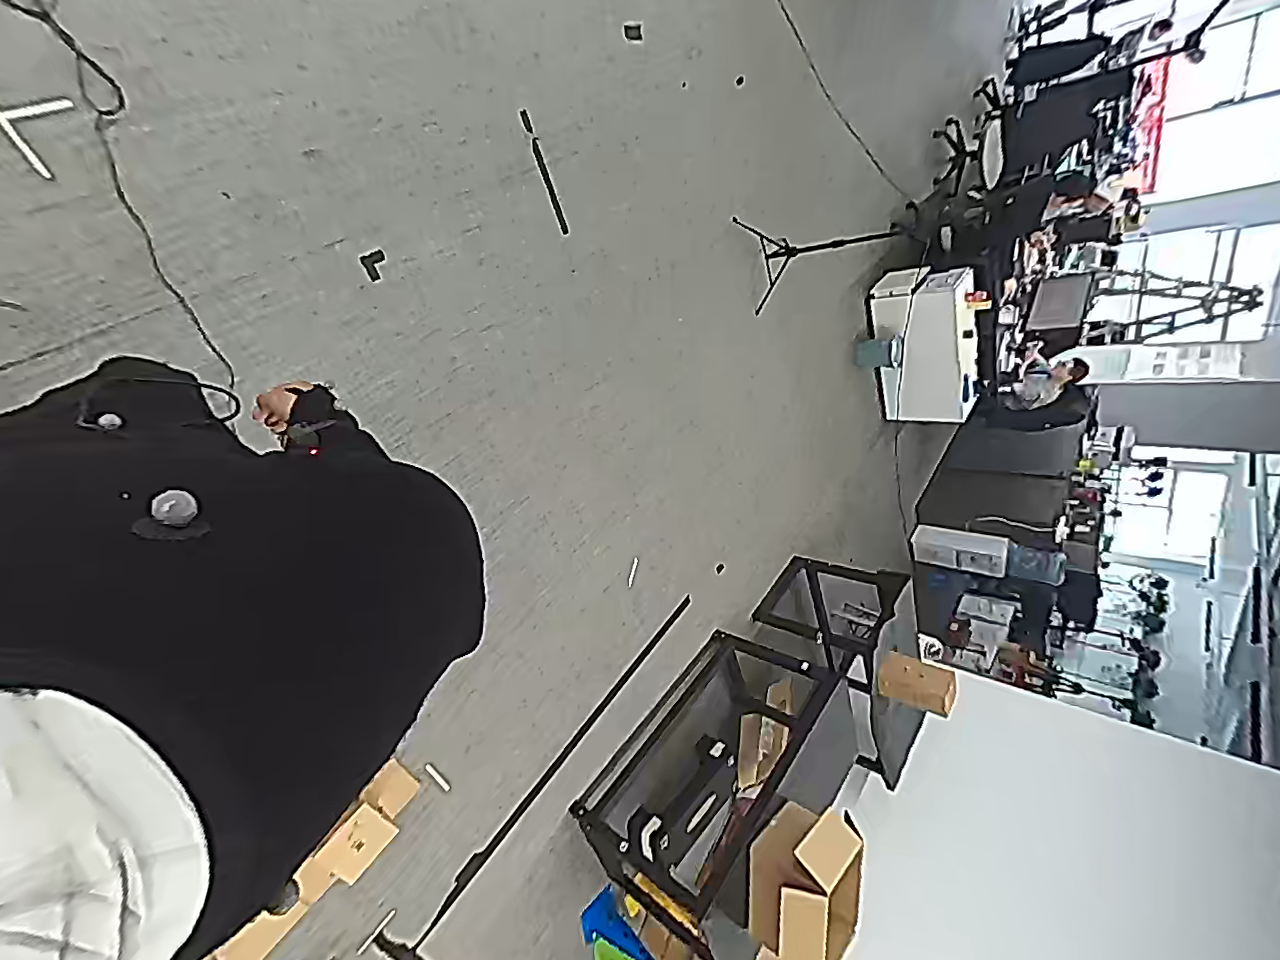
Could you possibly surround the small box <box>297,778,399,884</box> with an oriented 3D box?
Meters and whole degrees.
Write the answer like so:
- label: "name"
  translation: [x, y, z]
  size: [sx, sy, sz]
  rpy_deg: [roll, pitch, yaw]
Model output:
- label: "small box"
  translation: [-0.845, 1.005, 1.564]
  size: [0.168, 0.176, 0.179]
  rpy_deg: [-46, 126, -33]
